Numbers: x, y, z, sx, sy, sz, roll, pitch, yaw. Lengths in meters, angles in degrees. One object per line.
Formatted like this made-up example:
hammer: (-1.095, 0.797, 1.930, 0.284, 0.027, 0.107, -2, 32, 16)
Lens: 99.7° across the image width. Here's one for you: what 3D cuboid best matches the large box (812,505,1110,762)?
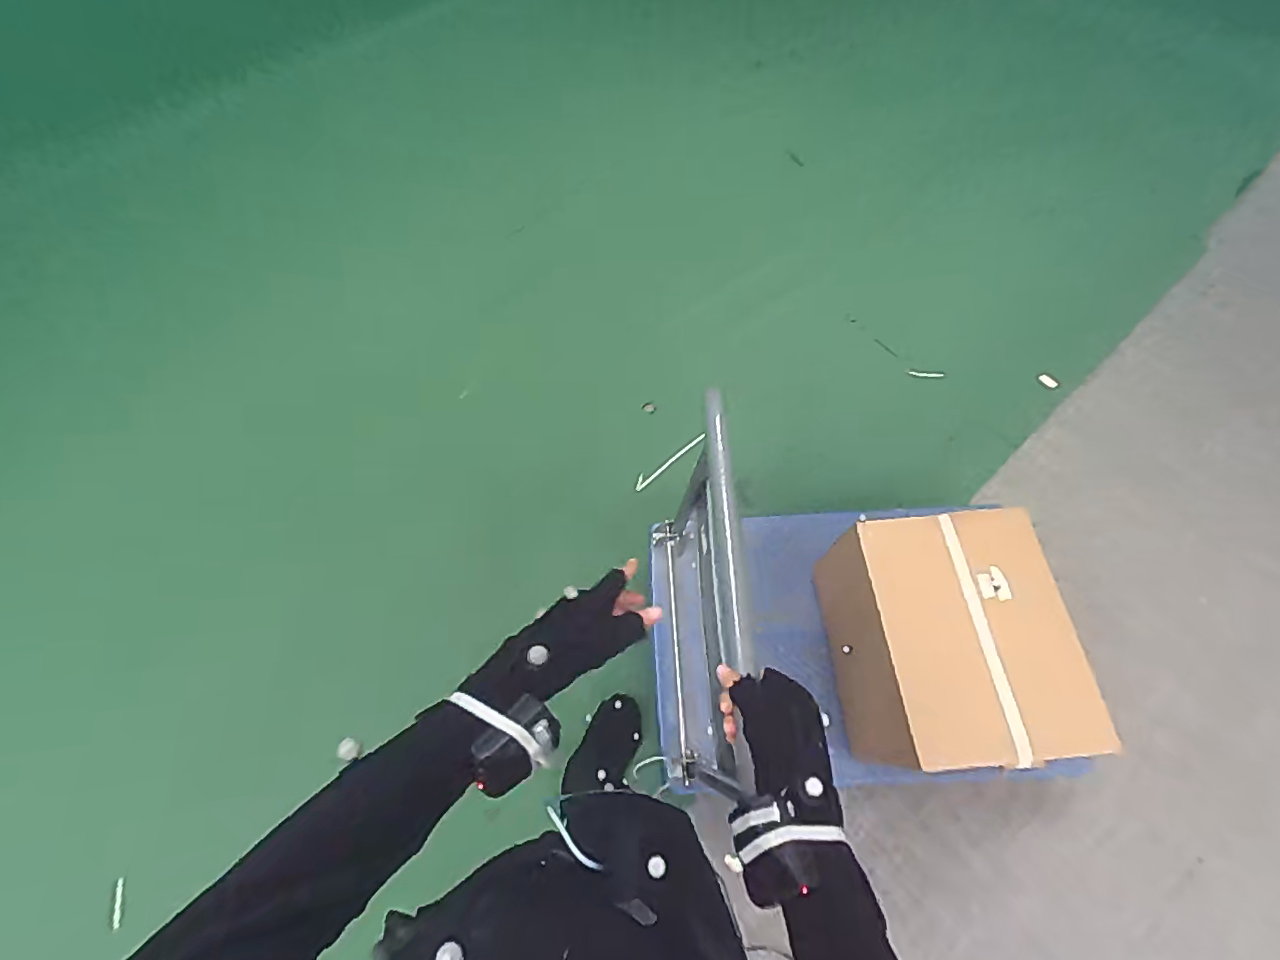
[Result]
large box: (0.561, 0.302, 1.047, 0.320, 0.320, 0.408, -4, 65, -2)
